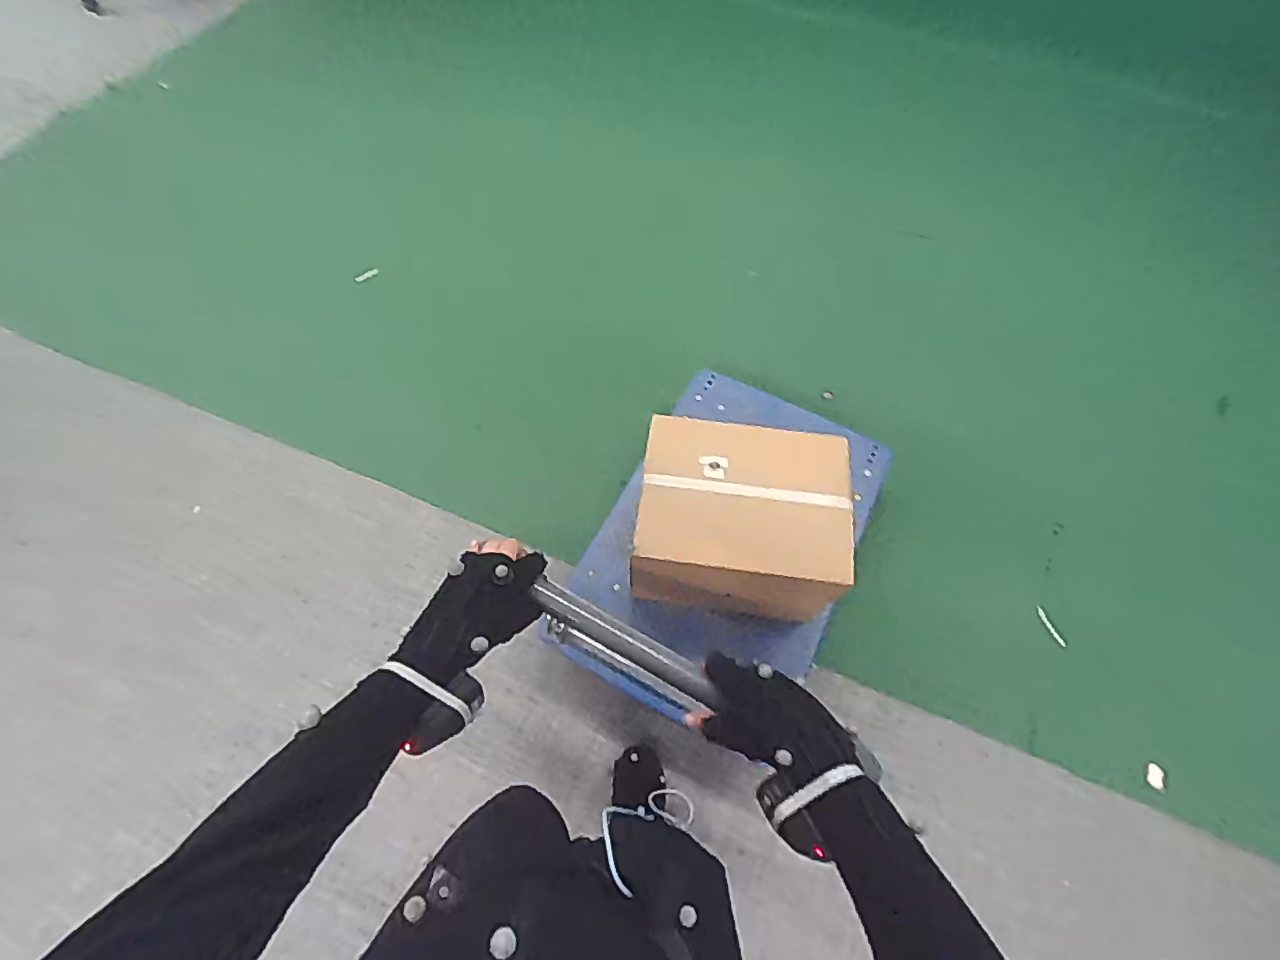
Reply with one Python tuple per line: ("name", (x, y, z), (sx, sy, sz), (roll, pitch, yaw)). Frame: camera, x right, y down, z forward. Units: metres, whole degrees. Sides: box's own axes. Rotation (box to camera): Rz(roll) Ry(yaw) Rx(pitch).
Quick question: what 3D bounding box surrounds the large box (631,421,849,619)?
("large box", (0.202, 0.099, 1.180), (0.408, 0.320, 0.320), (8, 63, 4))
